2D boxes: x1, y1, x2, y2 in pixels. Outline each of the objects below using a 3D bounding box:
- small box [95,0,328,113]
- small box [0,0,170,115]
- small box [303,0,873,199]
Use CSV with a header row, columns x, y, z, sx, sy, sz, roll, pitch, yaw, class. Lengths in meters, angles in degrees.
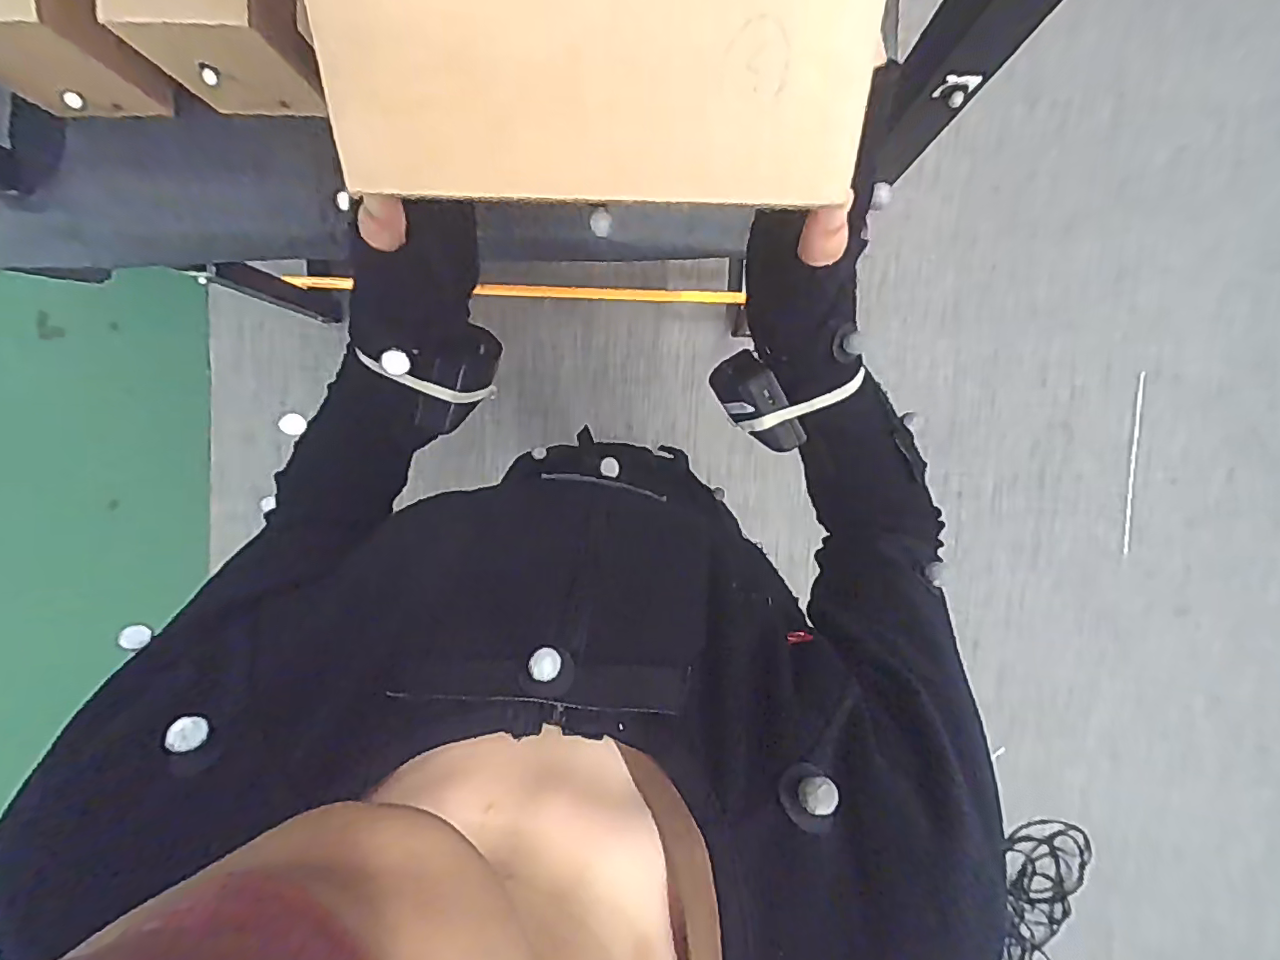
x,y,z,sx,sy,sz,roll,pitch,yaw,class
-0.484,-0.572,0.641,0.168,0.176,0.179,3,93,1,small box
-0.711,-0.575,0.643,0.168,0.176,0.179,0,94,1,small box
-0.012,-0.210,0.206,0.168,0.176,0.179,2,118,-1,small box
